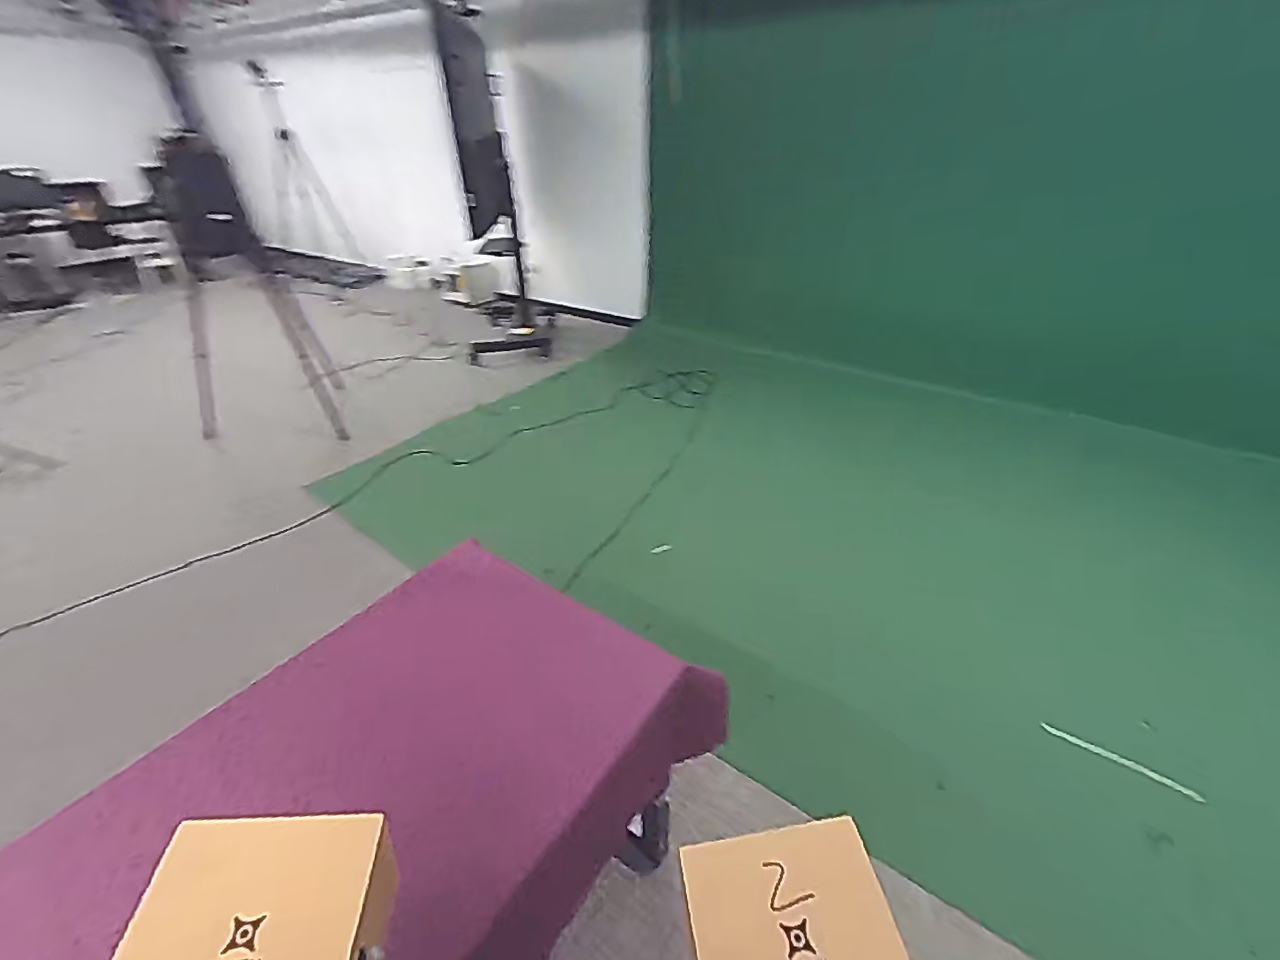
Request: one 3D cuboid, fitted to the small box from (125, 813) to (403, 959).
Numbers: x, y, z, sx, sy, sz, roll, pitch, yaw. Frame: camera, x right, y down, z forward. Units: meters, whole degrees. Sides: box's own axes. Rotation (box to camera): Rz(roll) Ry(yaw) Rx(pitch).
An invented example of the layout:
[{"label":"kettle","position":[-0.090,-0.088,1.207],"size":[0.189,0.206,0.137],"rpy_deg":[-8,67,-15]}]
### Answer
[{"label":"small box","position":[-0.311,0.414,0.461],"size":[0.168,0.176,0.179],"rpy_deg":[7,38,-10]}]
